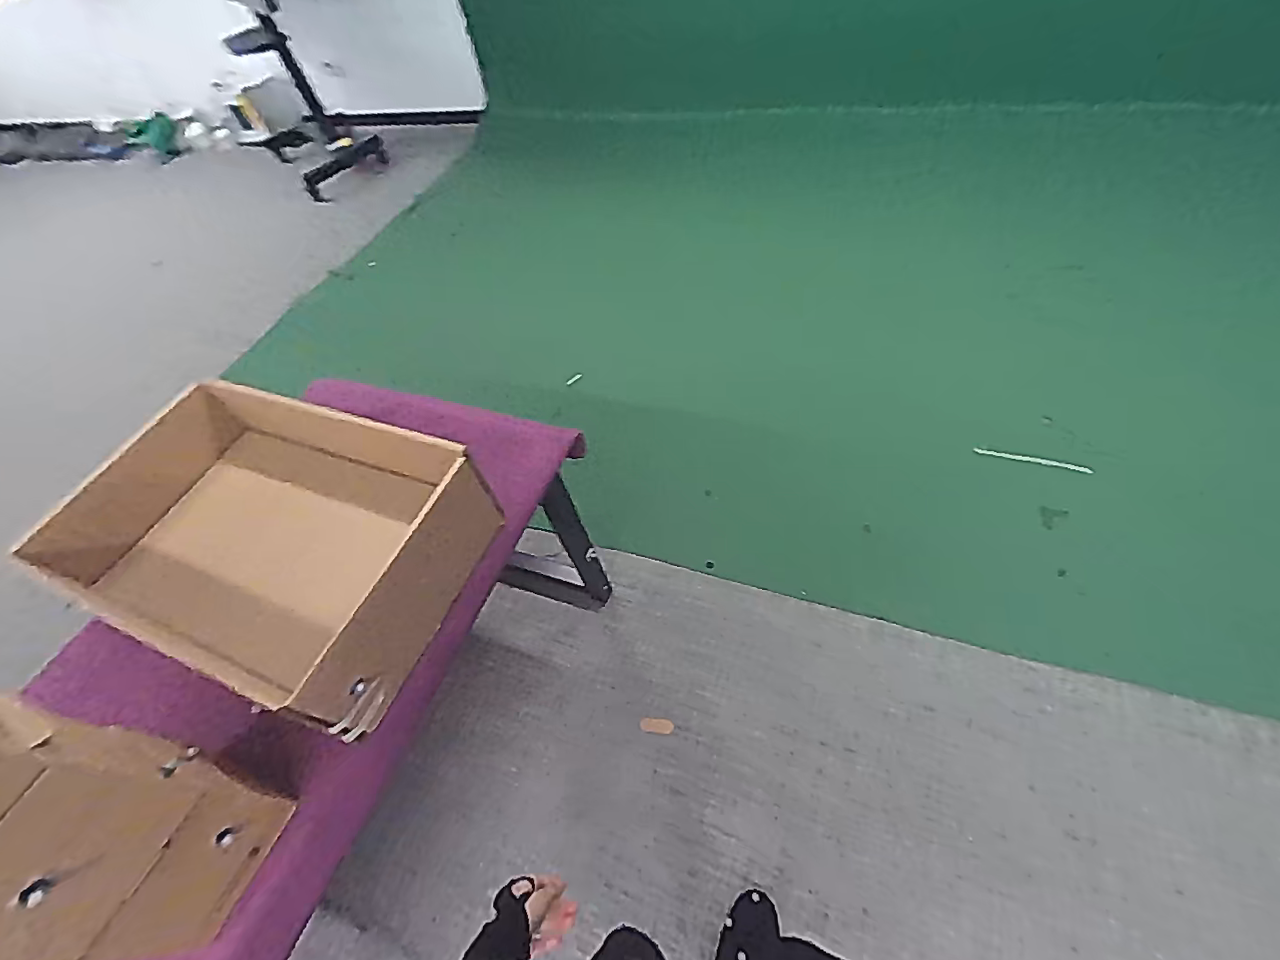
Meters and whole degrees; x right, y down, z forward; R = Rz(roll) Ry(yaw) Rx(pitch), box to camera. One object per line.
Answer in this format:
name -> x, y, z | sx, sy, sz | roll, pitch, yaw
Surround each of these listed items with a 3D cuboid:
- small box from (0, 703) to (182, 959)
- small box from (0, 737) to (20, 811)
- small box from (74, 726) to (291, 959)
small box -> -0.588, 0.332, 0.504 | 0.168, 0.176, 0.179 | 14, 58, 21
small box -> -0.612, 0.235, 0.373 | 0.168, 0.176, 0.179 | 13, 56, 21
small box -> -0.571, 0.421, 0.640 | 0.179, 0.176, 0.168 | 13, 57, 21
